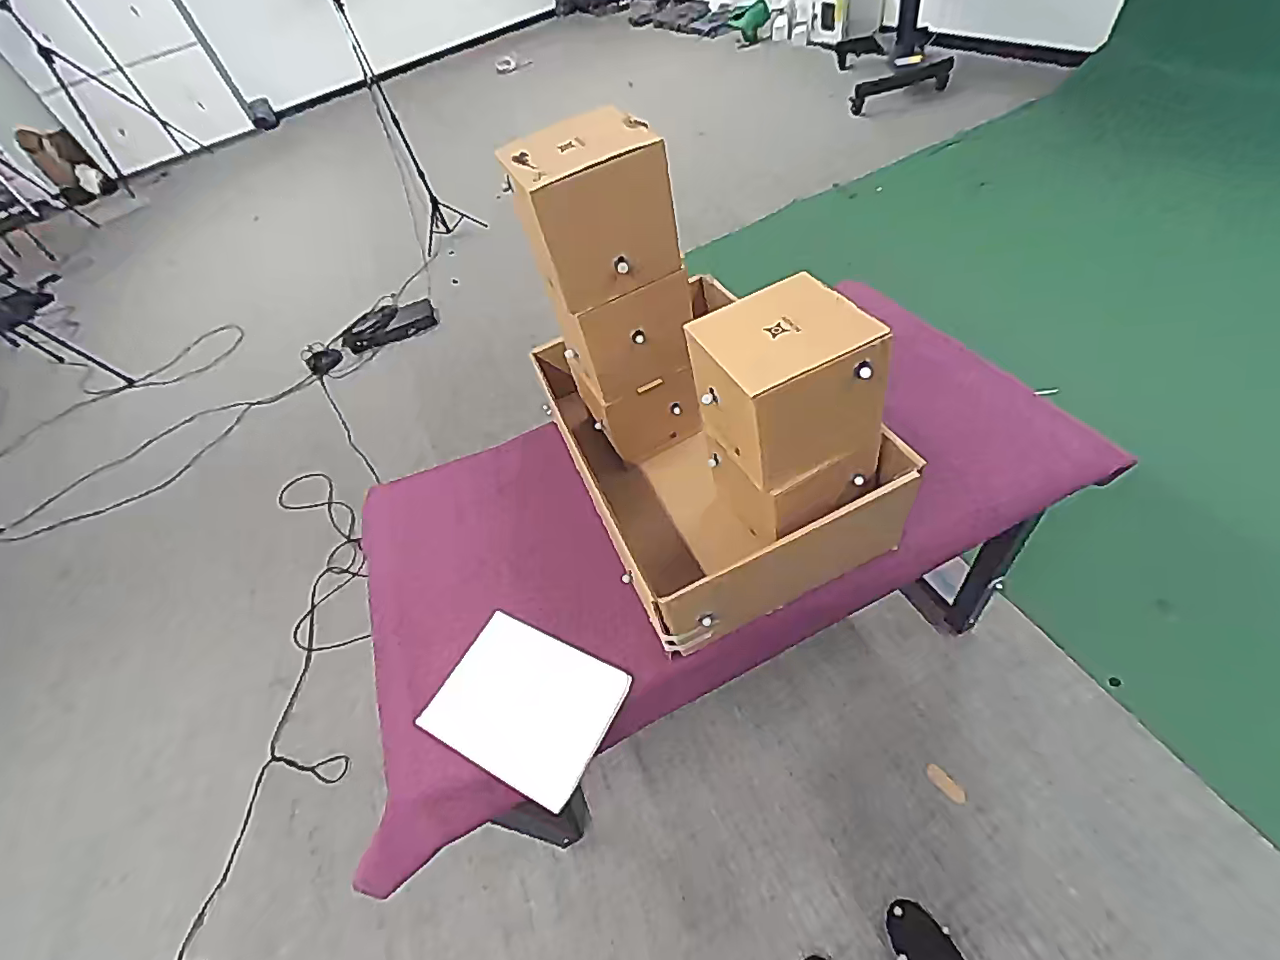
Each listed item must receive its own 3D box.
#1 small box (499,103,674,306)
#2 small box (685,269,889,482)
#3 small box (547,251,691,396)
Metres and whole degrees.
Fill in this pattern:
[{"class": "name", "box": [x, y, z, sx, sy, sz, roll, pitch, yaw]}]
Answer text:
[{"class": "small box", "box": [-0.064, -0.368, 0.728, 0.179, 0.176, 0.168, -25, 50, -8]}, {"class": "small box", "box": [0.179, -0.126, 0.678, 0.179, 0.176, 0.168, -25, 48, -6]}, {"class": "small box", "box": [-0.029, -0.266, 0.852, 0.179, 0.176, 0.168, -27, 51, -8]}]
